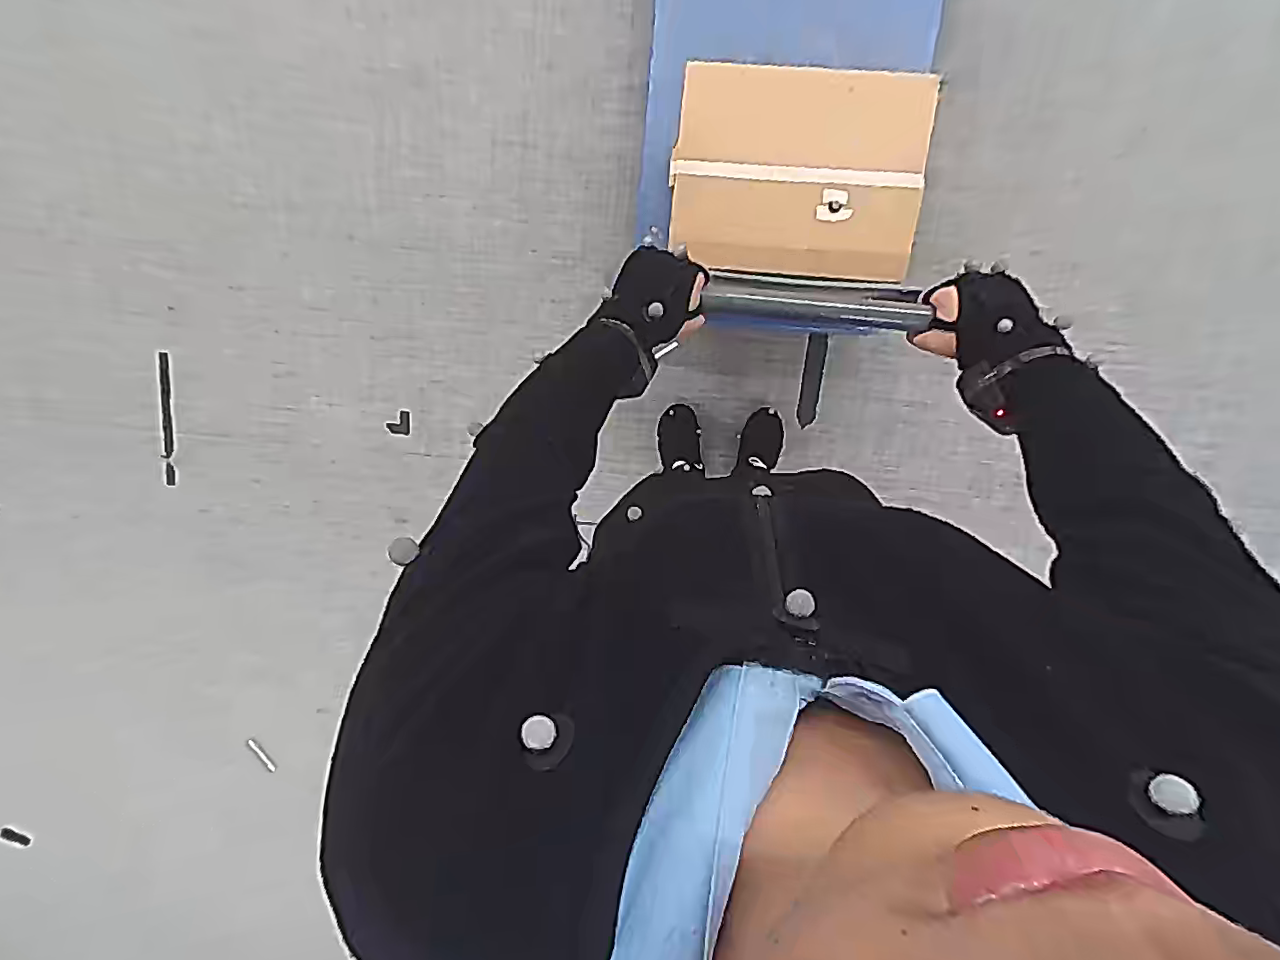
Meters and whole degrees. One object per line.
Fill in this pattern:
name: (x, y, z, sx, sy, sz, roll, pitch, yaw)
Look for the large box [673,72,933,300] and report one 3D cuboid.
large box: (0.273, -0.537, 1.053, 0.408, 0.320, 0.320, 5, 104, 3)
